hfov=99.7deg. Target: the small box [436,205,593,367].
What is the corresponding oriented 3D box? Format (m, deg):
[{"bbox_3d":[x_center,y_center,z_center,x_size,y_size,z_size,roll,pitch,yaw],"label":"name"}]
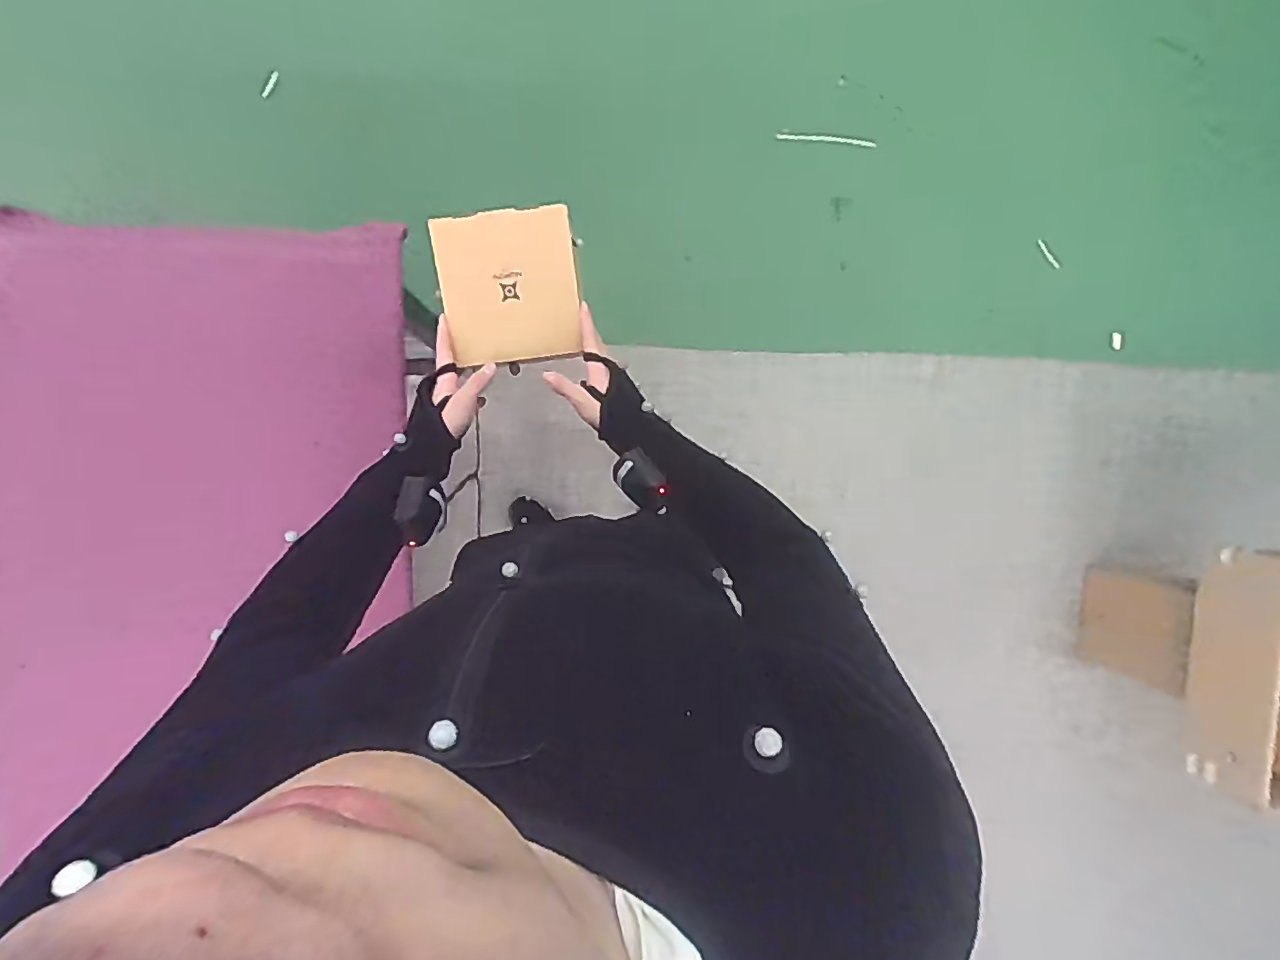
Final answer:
[{"bbox_3d":[-0.156,-0.250,0.735,0.168,0.176,0.179,-7,101,-2],"label":"small box"}]
